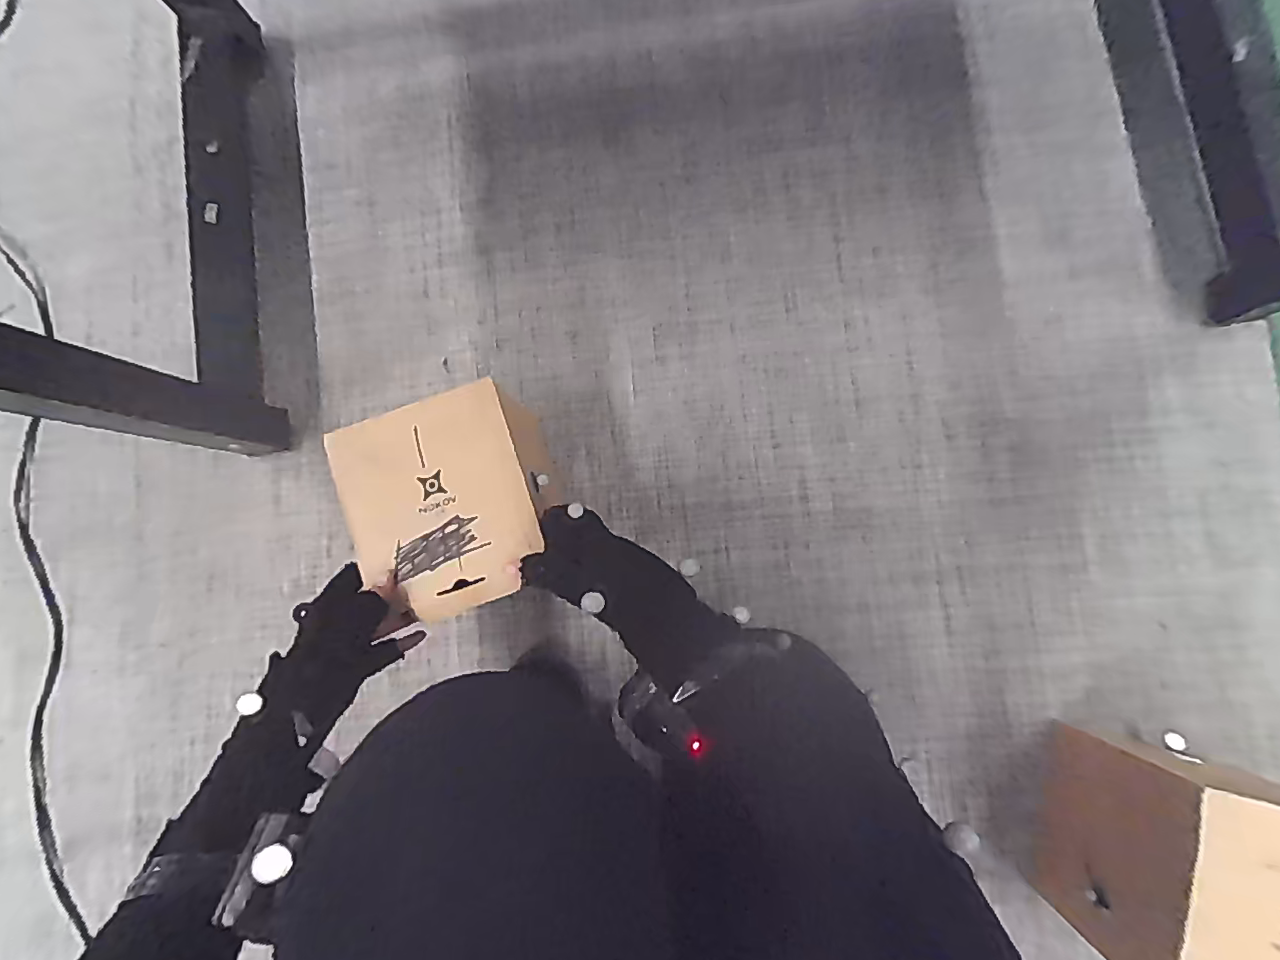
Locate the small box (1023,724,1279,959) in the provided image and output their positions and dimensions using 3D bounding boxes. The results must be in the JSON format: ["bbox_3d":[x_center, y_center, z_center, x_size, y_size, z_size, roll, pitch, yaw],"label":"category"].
[{"bbox_3d":[0.489,0.352,0.489,0.168,0.176,0.179,12,84,3],"label":"small box"}]
